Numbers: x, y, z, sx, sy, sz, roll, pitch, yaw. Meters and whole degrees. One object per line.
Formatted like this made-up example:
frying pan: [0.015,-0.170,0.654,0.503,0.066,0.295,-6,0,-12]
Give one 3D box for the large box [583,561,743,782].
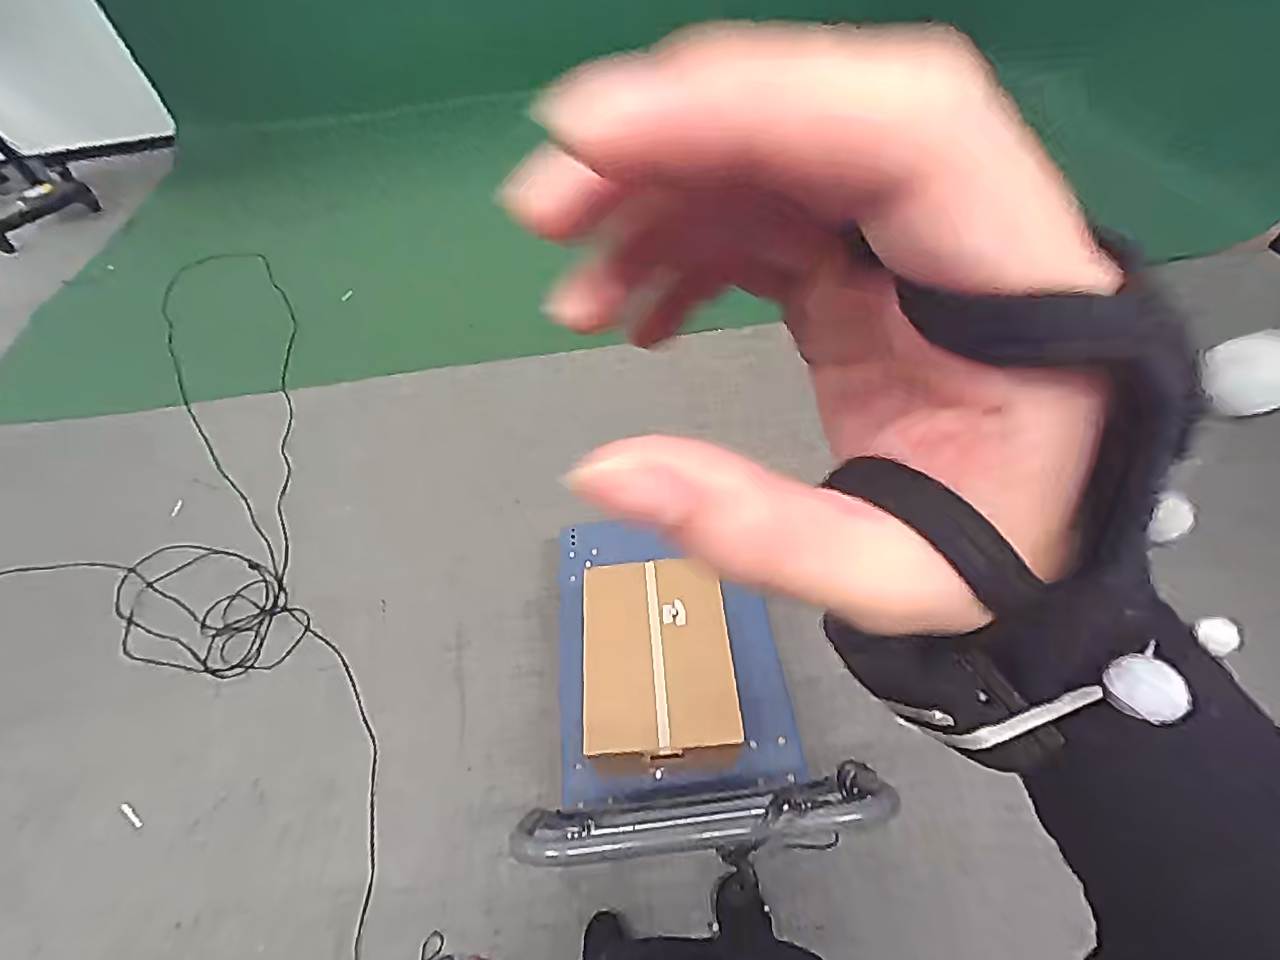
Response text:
large box: [0.045,0.452,1.272,0.320,0.320,0.408,-5,53,1]
